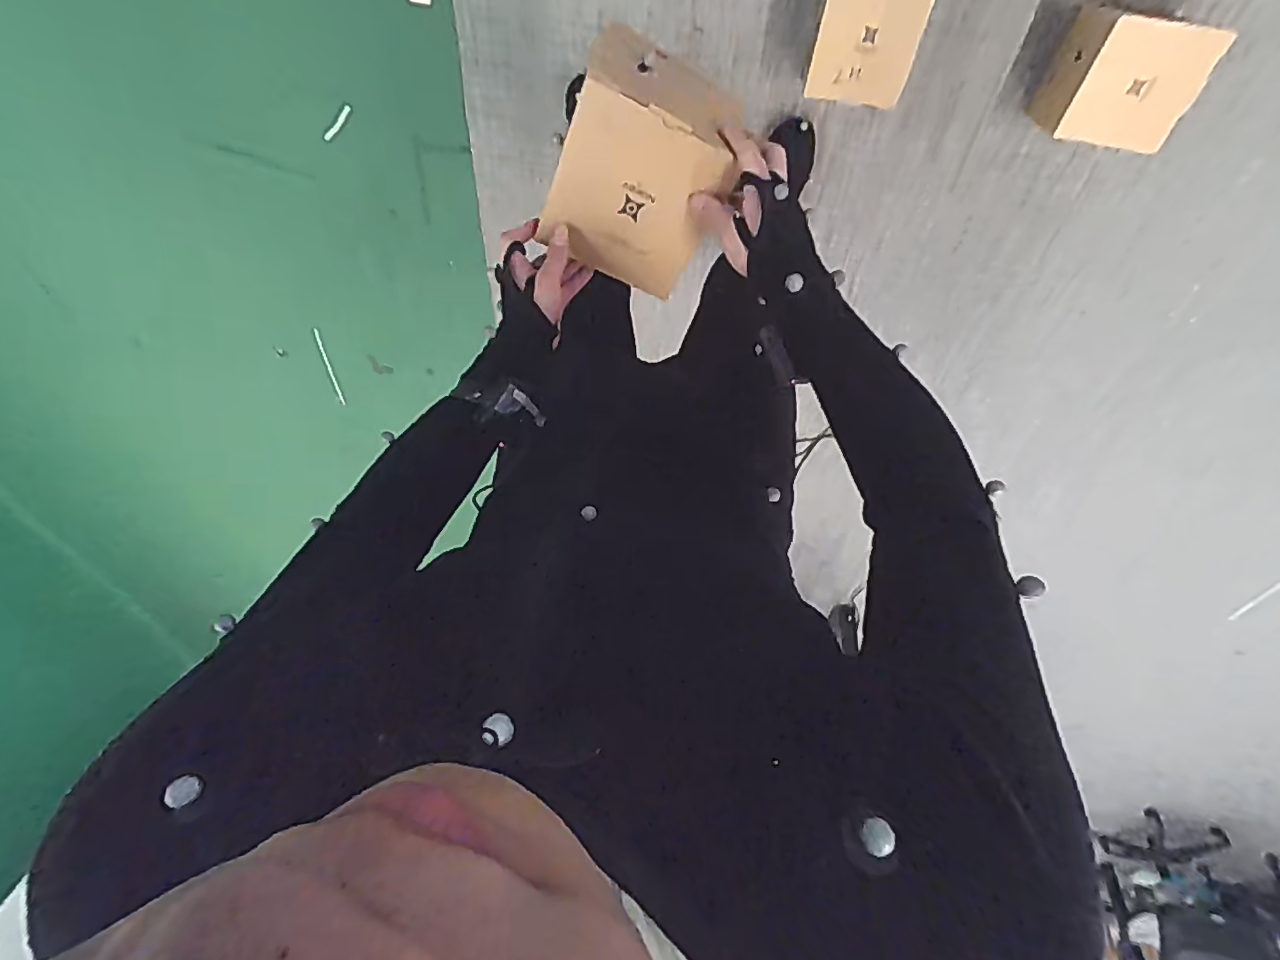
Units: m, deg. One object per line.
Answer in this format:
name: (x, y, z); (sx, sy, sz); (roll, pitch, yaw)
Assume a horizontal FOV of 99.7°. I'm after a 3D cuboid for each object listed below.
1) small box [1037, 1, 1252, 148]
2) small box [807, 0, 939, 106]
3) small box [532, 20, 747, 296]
small box: (0.815, -0.680, 0.903); (0.179, 0.176, 0.168); (12, 135, 4)
small box: (0.392, -0.775, 0.932); (0.168, 0.176, 0.179); (12, 135, 5)
small box: (-0.002, -0.347, 0.590); (0.168, 0.176, 0.179); (20, 142, -16)
